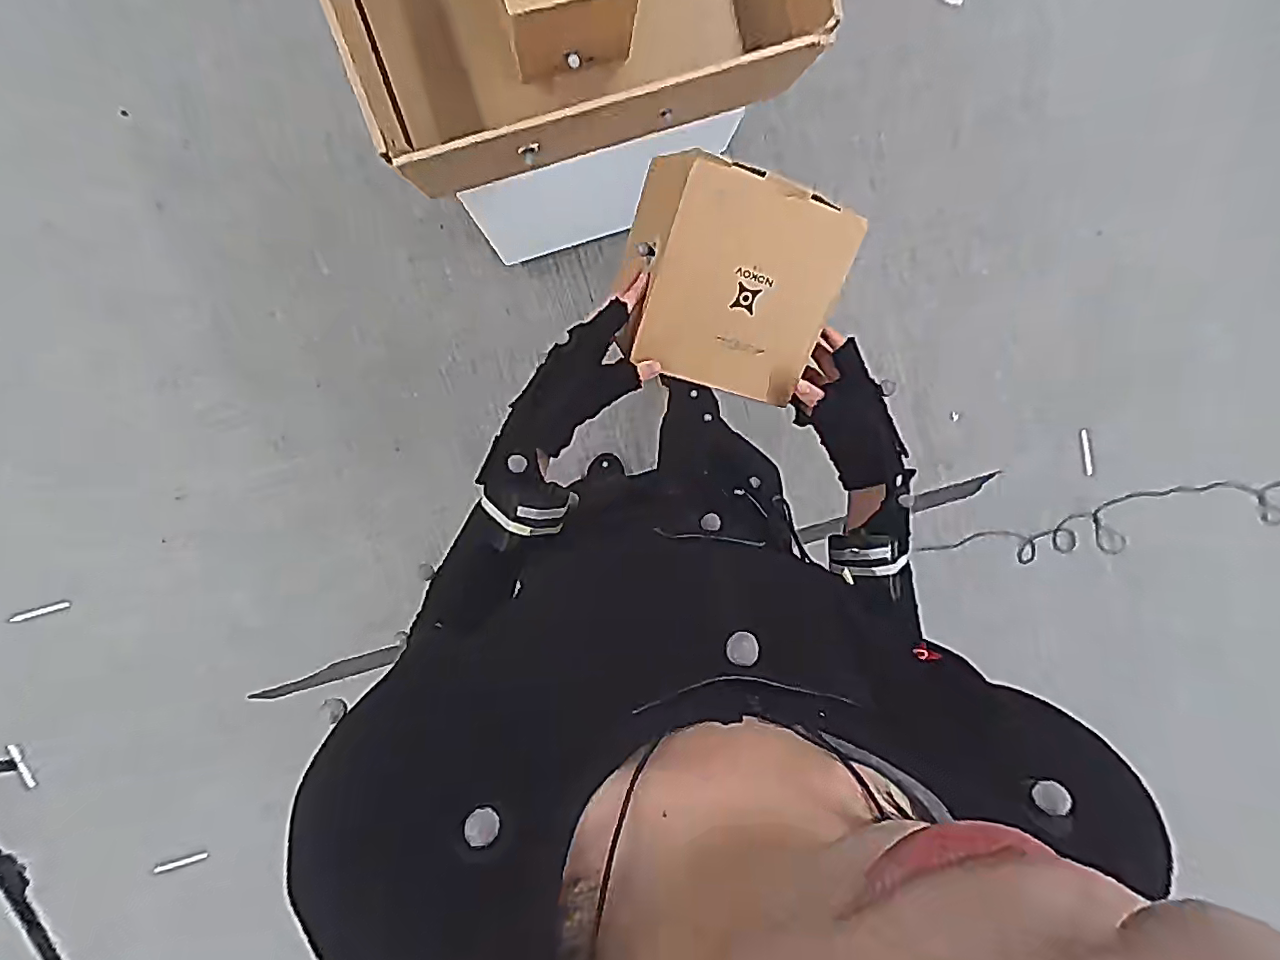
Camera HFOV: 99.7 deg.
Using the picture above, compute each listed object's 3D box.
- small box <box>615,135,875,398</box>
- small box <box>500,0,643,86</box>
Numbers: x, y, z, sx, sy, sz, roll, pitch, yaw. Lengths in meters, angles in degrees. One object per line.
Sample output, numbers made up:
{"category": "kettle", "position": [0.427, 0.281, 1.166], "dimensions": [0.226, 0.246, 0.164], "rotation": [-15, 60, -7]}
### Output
{"category": "small box", "position": [0.082, -0.205, 0.530], "dimensions": [0.168, 0.176, 0.179], "rotation": [12, 115, -17]}
{"category": "small box", "position": [-0.103, -0.658, 0.695], "dimensions": [0.168, 0.176, 0.179], "rotation": [-16, 104, -2]}
